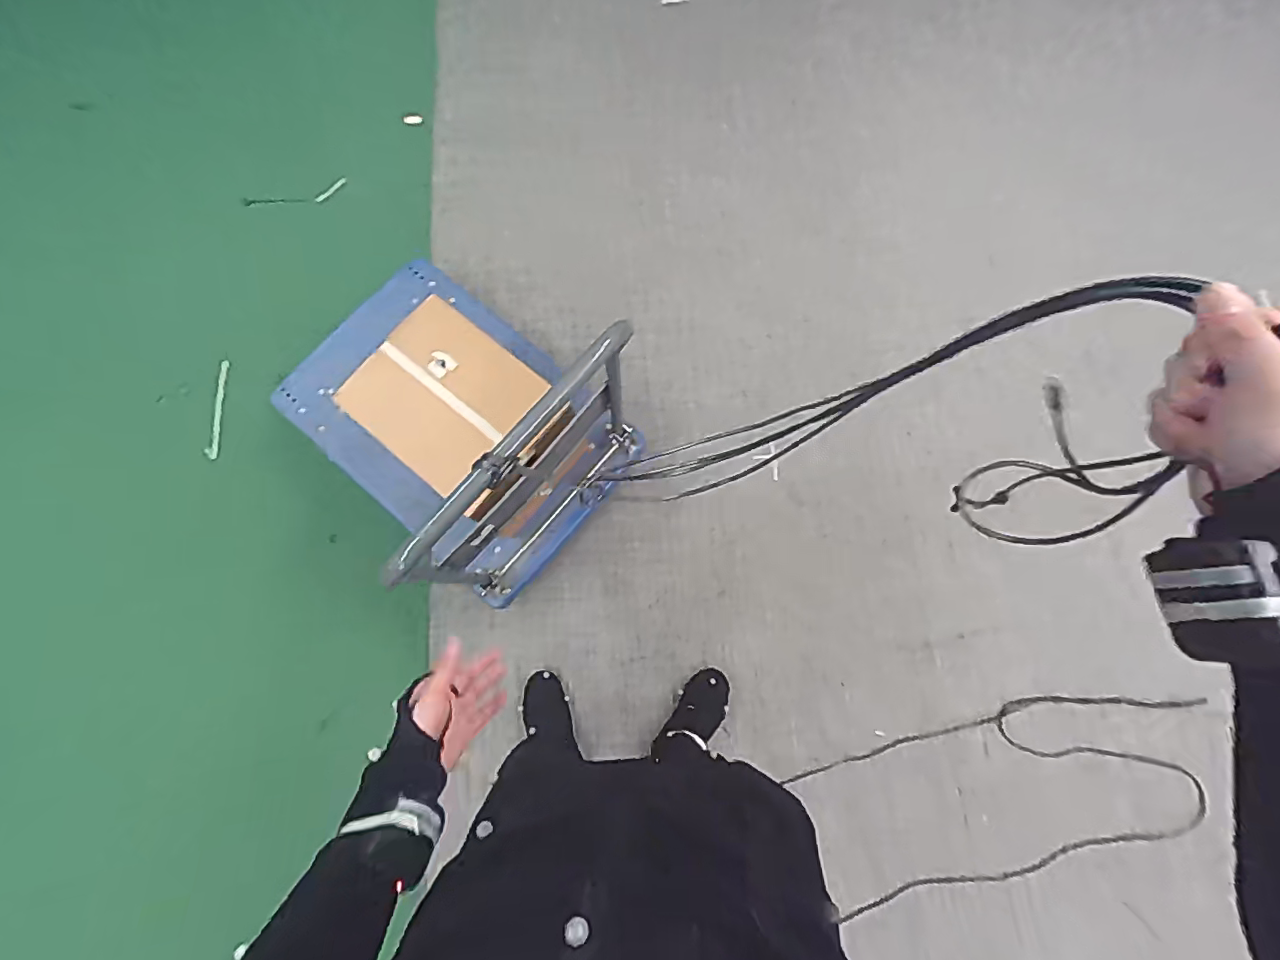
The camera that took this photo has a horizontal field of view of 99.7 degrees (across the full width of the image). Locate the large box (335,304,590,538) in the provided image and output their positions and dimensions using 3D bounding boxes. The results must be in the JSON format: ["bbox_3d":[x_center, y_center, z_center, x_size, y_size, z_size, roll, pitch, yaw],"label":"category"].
[{"bbox_3d":[-0.380,-0.116,1.256,0.408,0.320,0.320,38,80,11],"label":"large box"}]
